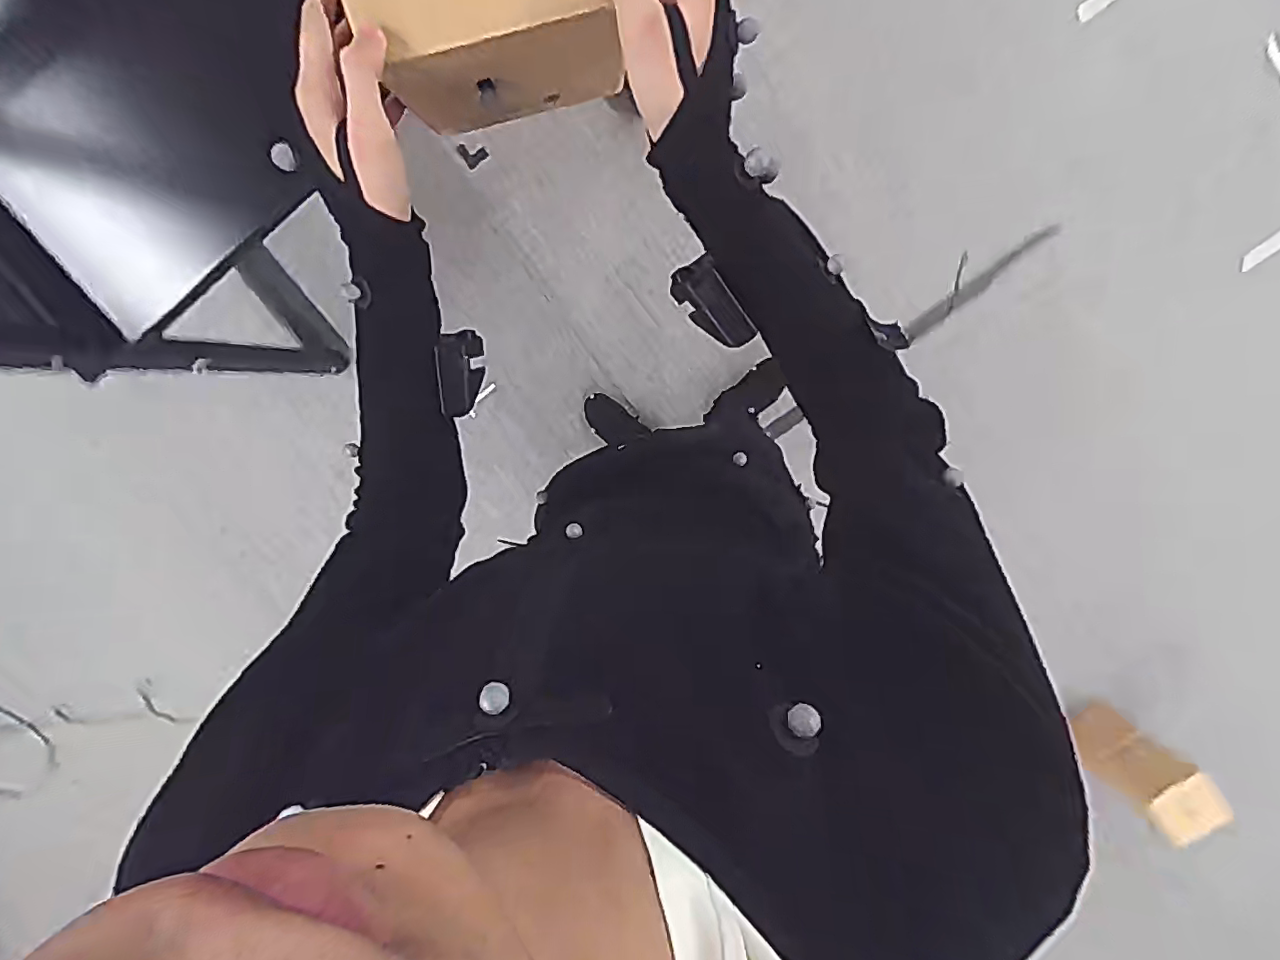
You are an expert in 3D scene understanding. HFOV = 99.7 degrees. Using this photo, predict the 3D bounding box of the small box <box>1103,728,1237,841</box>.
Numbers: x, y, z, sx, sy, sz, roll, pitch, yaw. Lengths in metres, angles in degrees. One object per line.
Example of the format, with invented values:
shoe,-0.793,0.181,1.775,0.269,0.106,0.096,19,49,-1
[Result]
small box,1.460,0.837,1.502,0.168,0.176,0.179,-38,97,6

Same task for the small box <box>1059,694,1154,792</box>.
small box,1.458,0.801,1.662,0.168,0.176,0.179,-38,98,6
